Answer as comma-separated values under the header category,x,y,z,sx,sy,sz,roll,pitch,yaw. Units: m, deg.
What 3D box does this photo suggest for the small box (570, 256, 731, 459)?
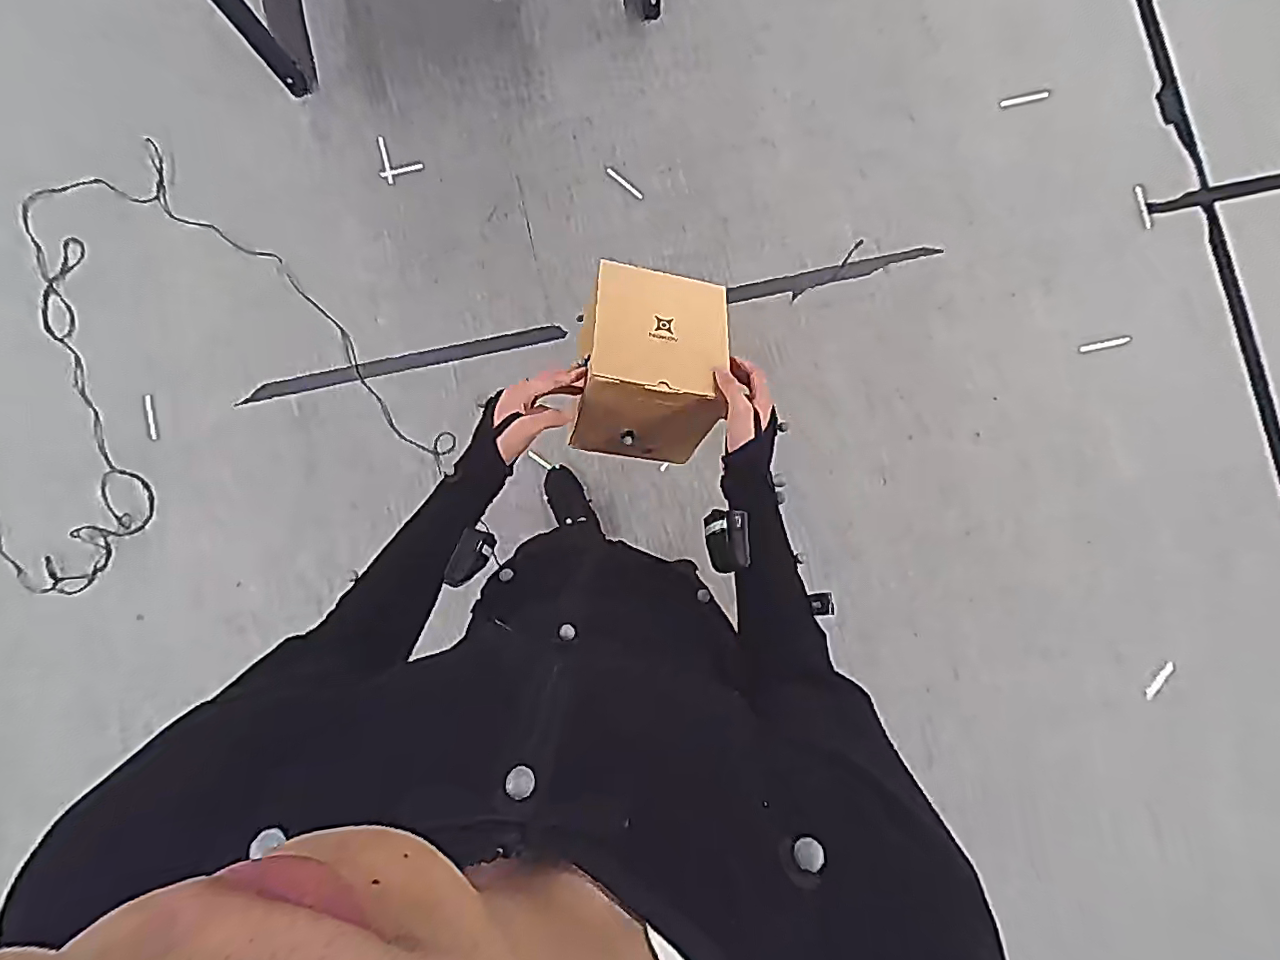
category,x,y,z,sx,sy,sz,roll,pitch,yaw
small box,0.005,-0.148,0.700,0.168,0.176,0.179,7,64,-13
